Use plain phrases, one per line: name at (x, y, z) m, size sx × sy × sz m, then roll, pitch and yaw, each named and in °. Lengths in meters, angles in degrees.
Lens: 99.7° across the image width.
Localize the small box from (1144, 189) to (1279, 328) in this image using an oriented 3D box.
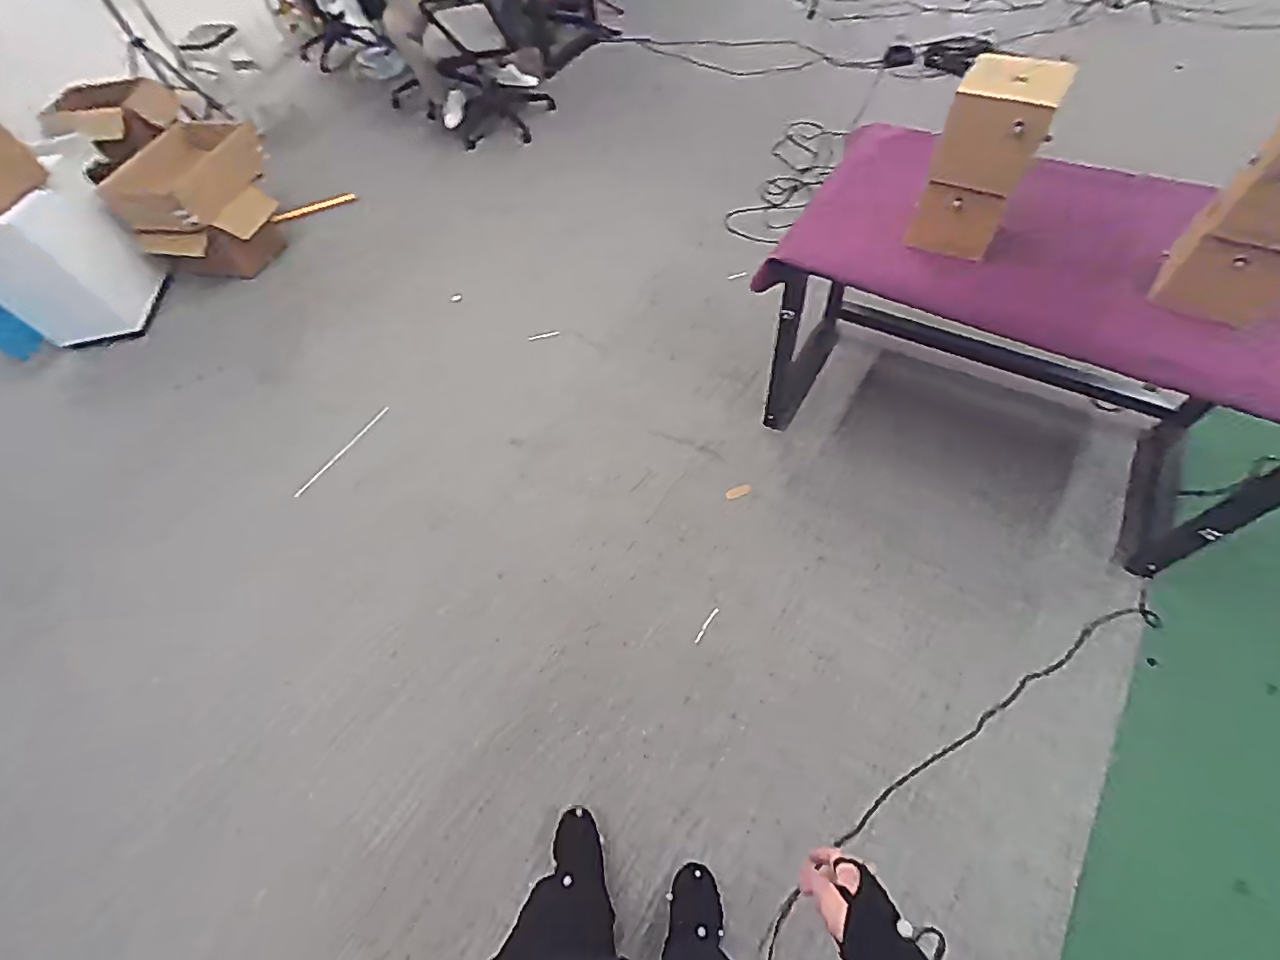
small box at (1.148, -0.426, 1.054) m, size 0.179 × 0.176 × 0.168 m, roll 29°, pitch 66°, yaw 22°

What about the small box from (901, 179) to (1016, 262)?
small box at (0.726, -0.627, 1.229) m, size 0.179 × 0.176 × 0.168 m, roll 25°, pitch 65°, yaw 20°

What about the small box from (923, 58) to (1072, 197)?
small box at (0.704, -0.700, 1.082) m, size 0.179 × 0.176 × 0.168 m, roll 26°, pitch 65°, yaw 21°
